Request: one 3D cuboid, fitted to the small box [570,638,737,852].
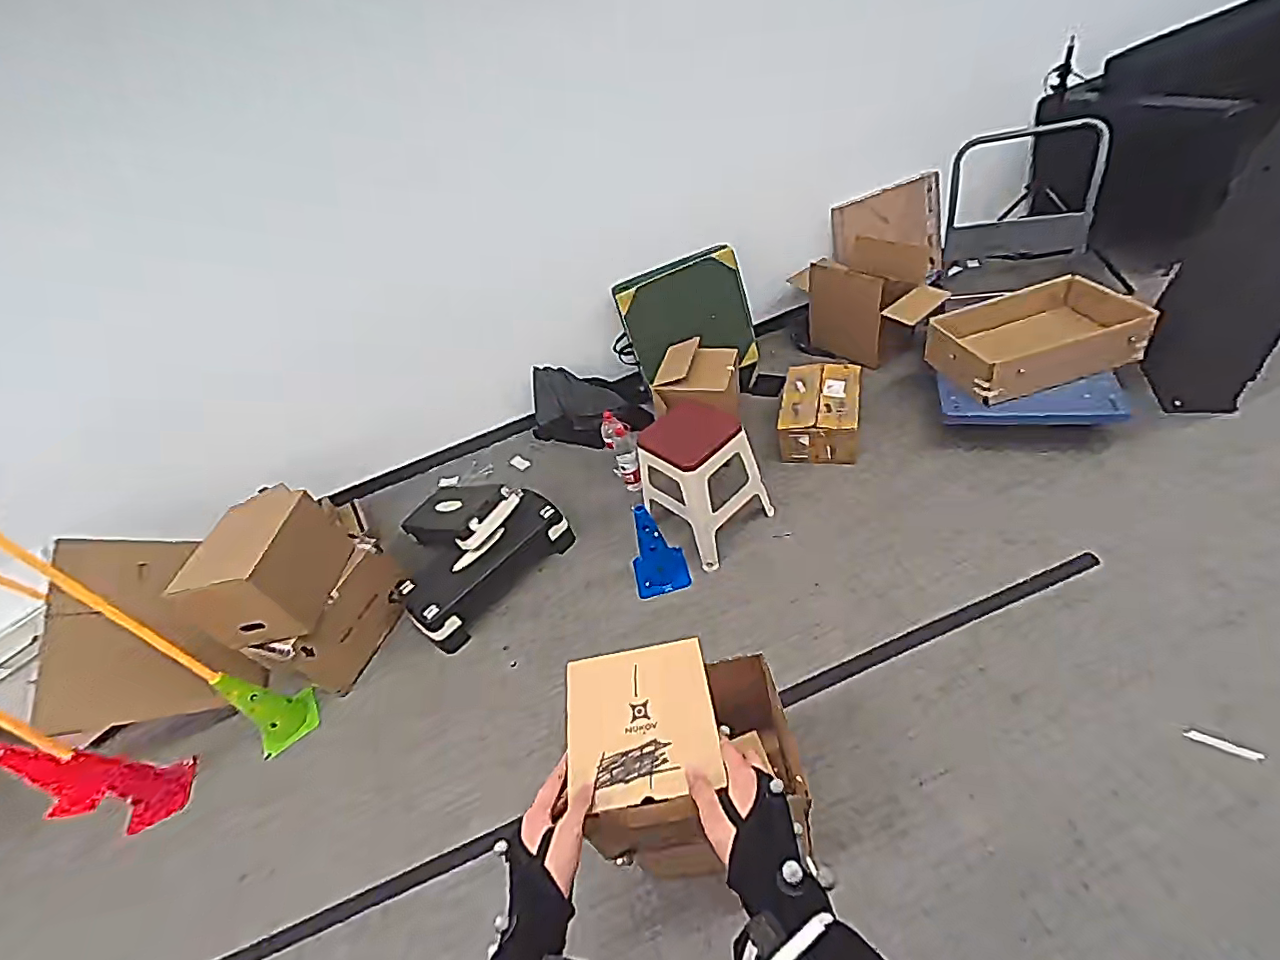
[{"bbox_3d":[0.017,0.323,0.652,0.168,0.176,0.179,-11,41,2],"label":"small box"}]
